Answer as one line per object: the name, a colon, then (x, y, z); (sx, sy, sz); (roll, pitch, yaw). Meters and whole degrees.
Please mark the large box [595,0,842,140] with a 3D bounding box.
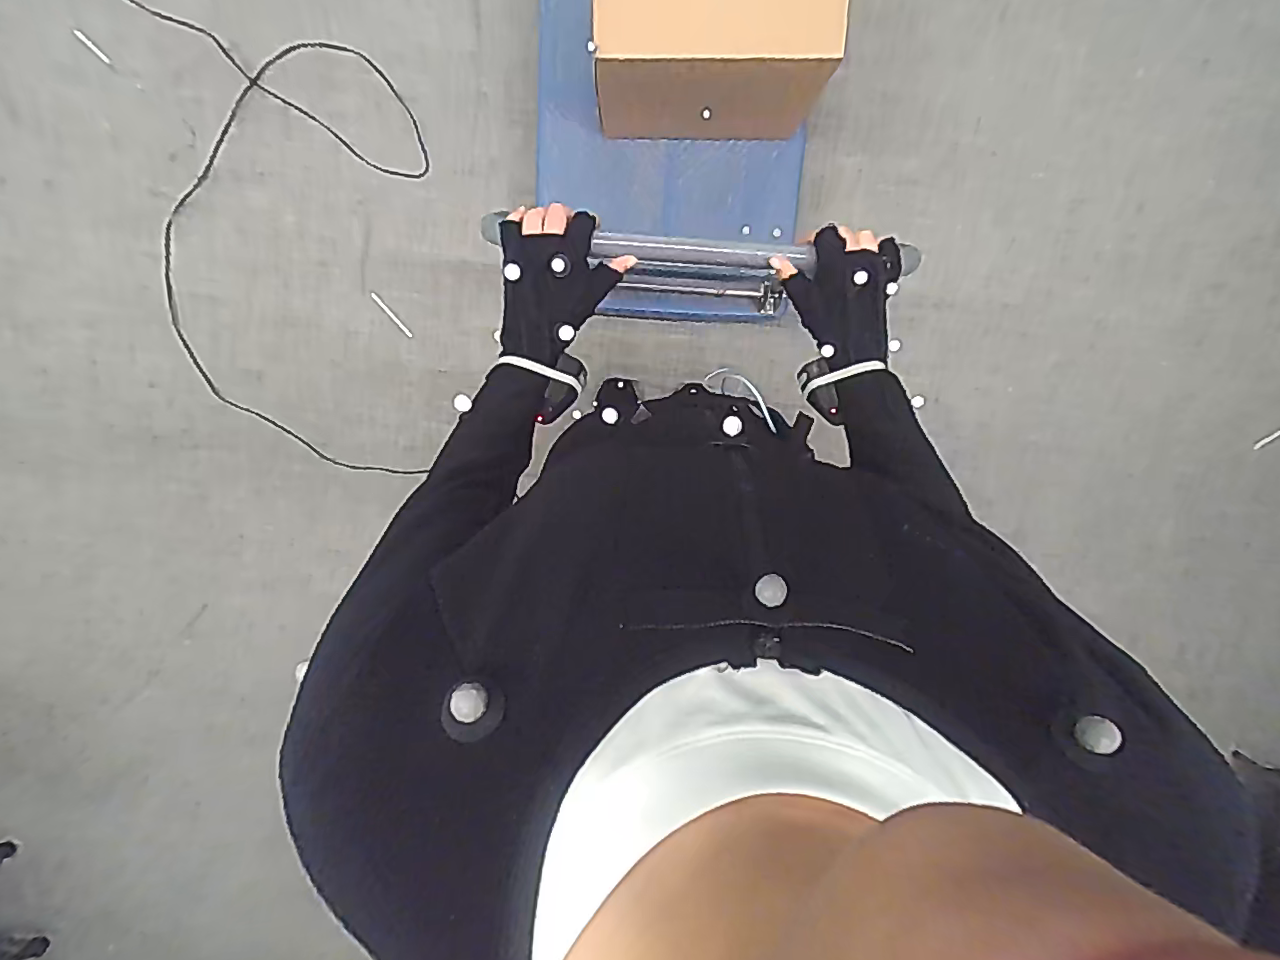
large box: (0.126, -0.861, 0.999); (0.408, 0.320, 0.320); (-1, 101, 1)
